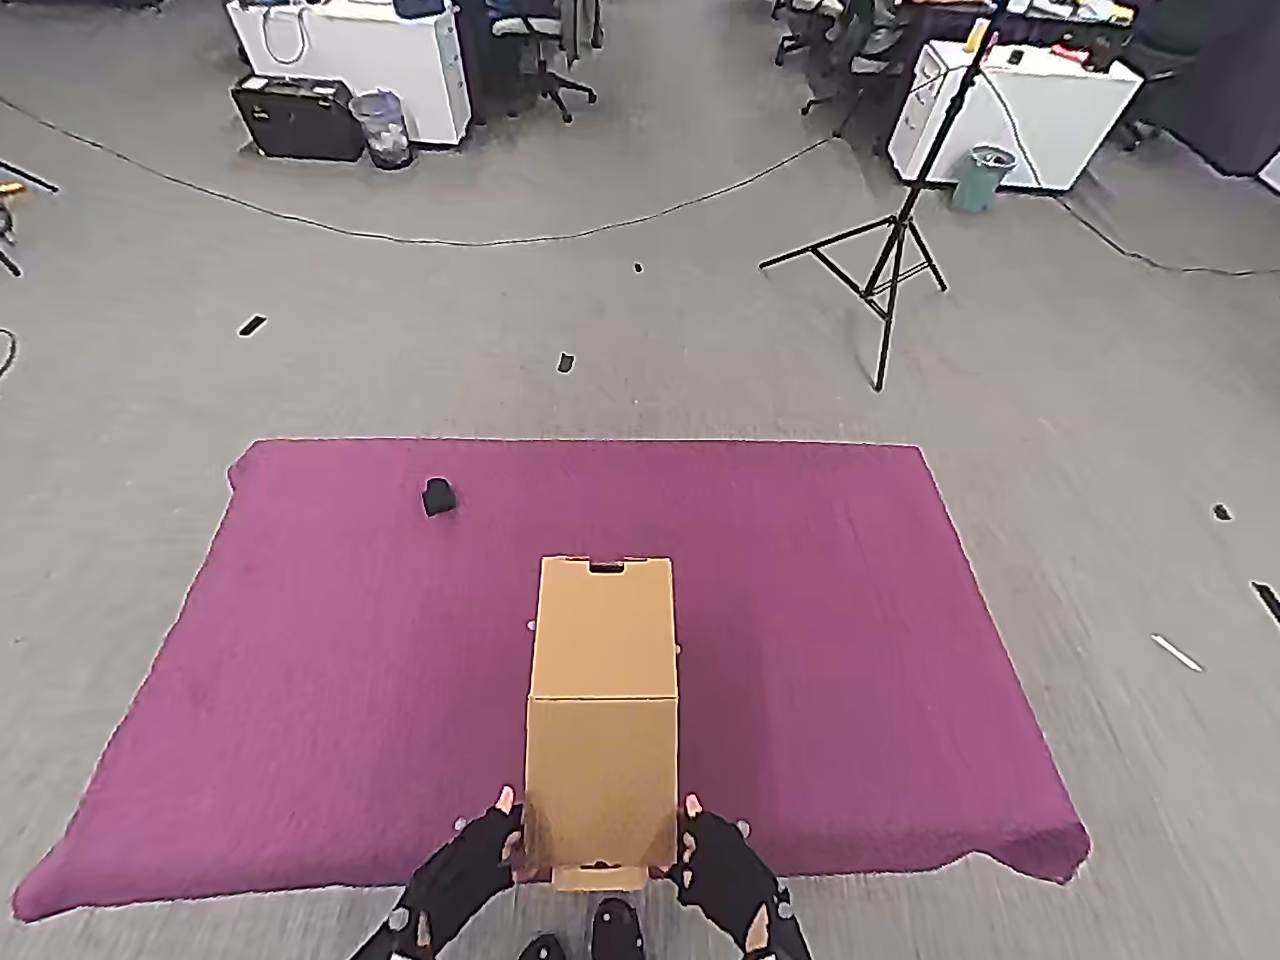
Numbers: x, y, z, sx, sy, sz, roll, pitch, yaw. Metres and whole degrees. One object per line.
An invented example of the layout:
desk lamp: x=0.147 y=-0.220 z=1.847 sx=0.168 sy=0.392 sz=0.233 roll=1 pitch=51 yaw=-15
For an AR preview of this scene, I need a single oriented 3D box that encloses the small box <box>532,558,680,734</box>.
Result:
small box: x=-0.043 y=0.218 z=0.703 sx=0.168 sy=0.176 sz=0.179 roll=1 pitch=54 yaw=-3
